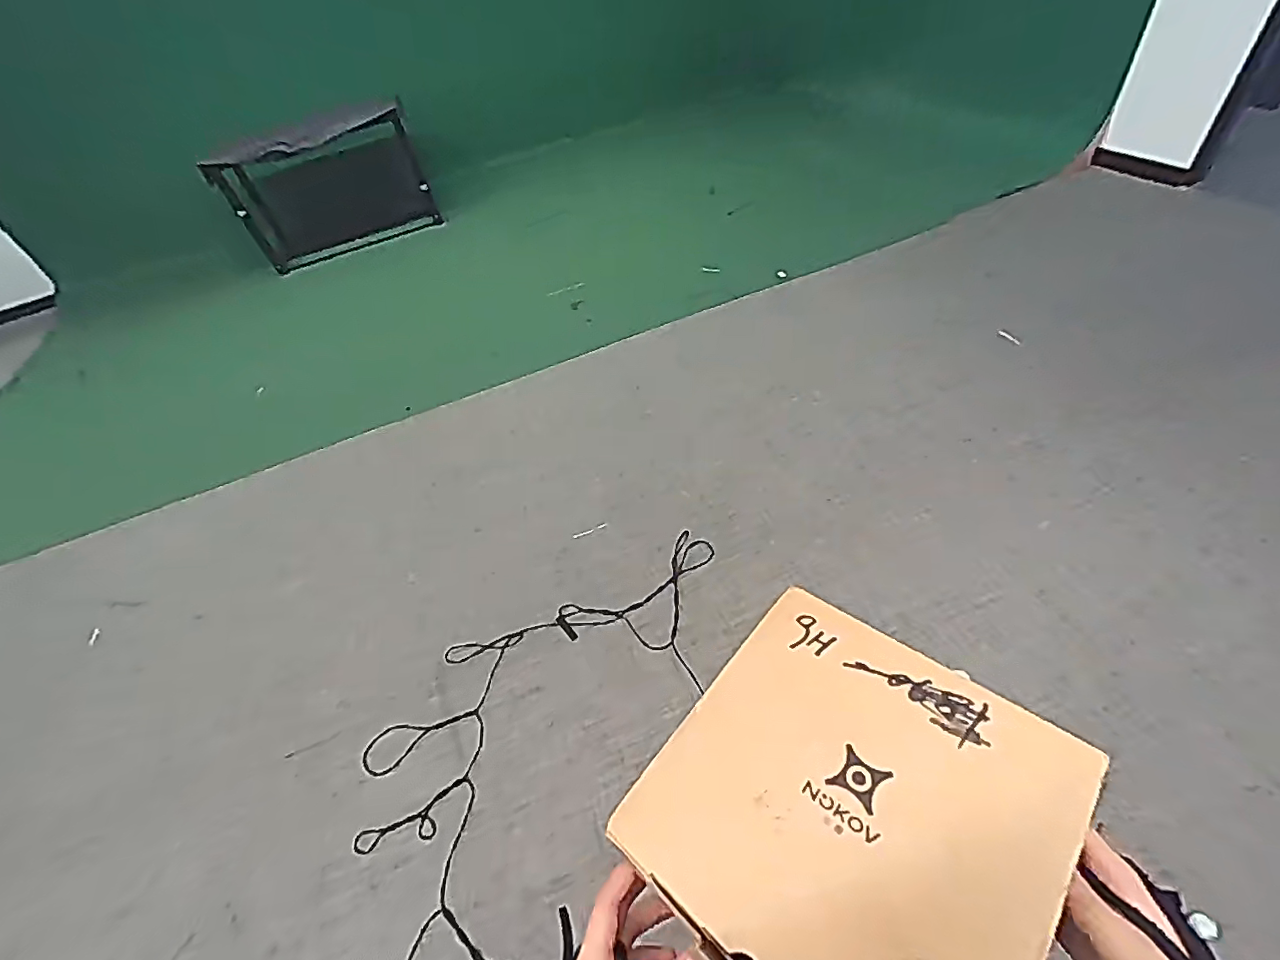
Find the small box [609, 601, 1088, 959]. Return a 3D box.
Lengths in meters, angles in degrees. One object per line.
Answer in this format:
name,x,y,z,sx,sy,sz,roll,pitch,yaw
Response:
small box,0.112,0.215,0.318,0.168,0.176,0.179,27,56,35
